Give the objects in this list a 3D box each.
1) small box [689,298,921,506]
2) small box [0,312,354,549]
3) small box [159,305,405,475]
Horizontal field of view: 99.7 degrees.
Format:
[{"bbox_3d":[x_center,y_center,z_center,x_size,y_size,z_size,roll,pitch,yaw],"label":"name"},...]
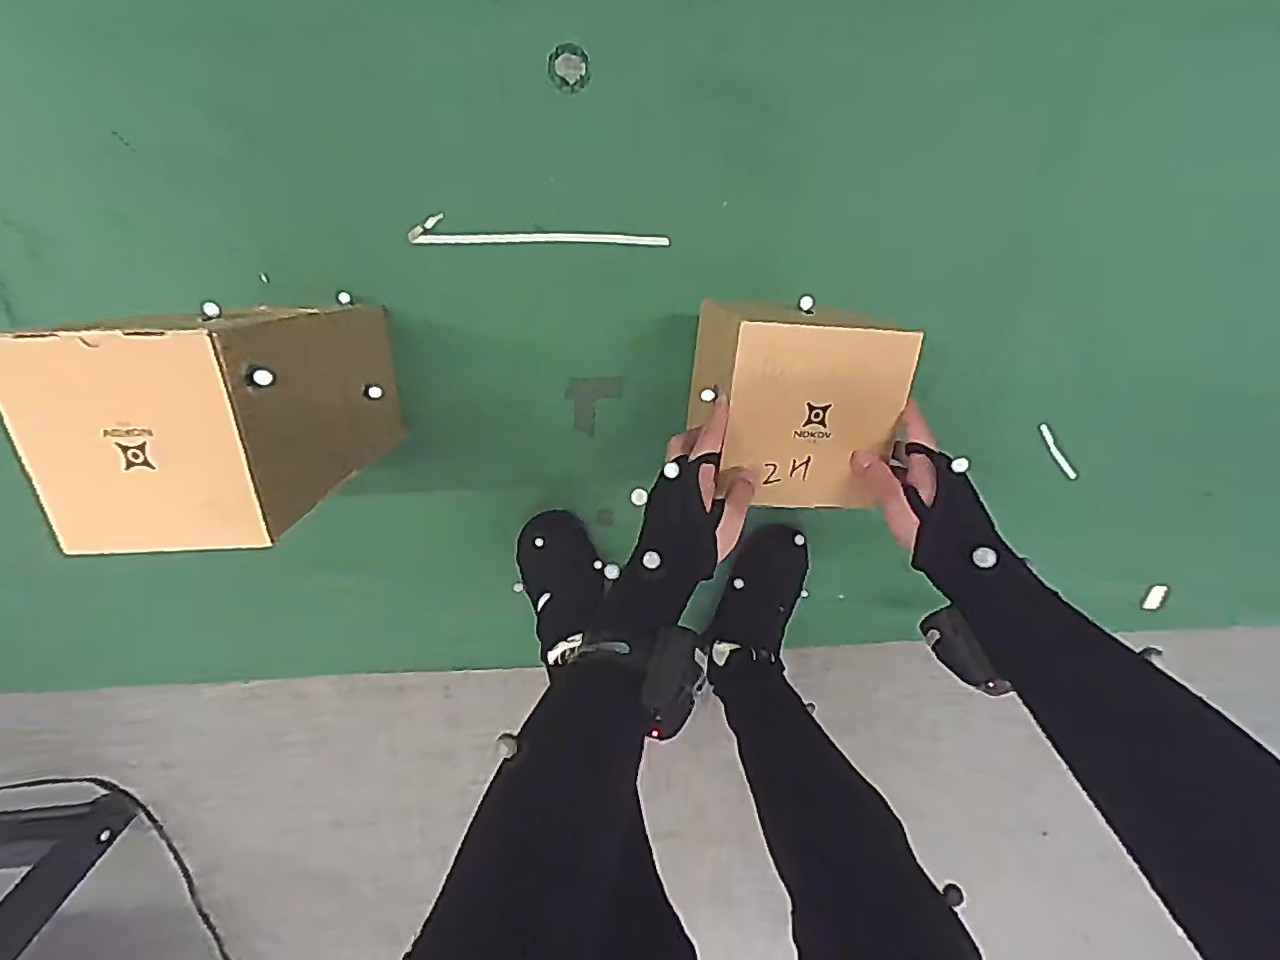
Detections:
[{"bbox_3d":[0.151,-0.089,0.566,0.168,0.176,0.179,2,115,-6],"label":"small box"},{"bbox_3d":[-0.386,-0.054,0.487,0.168,0.176,0.179,-2,110,-2],"label":"small box"},{"bbox_3d":[-0.398,-0.113,0.637,0.168,0.176,0.179,-2,112,-3],"label":"small box"}]
